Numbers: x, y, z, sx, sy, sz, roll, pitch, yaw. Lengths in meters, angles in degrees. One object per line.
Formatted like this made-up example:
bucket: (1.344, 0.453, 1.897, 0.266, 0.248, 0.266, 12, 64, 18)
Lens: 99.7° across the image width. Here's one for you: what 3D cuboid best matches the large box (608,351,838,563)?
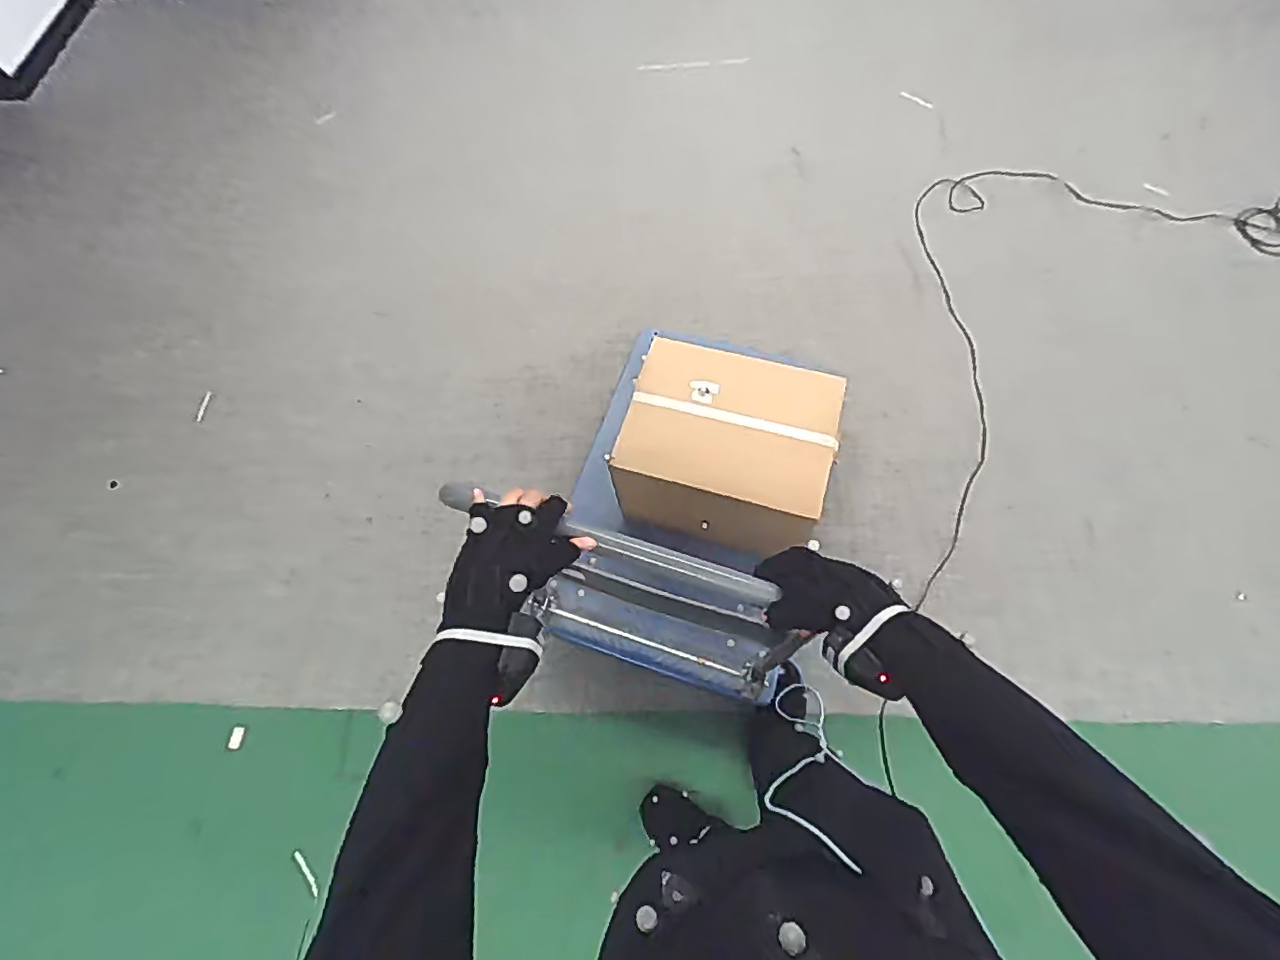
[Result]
large box: (0.184, -0.040, 1.204, 0.408, 0.320, 0.320, 14, 68, 12)
